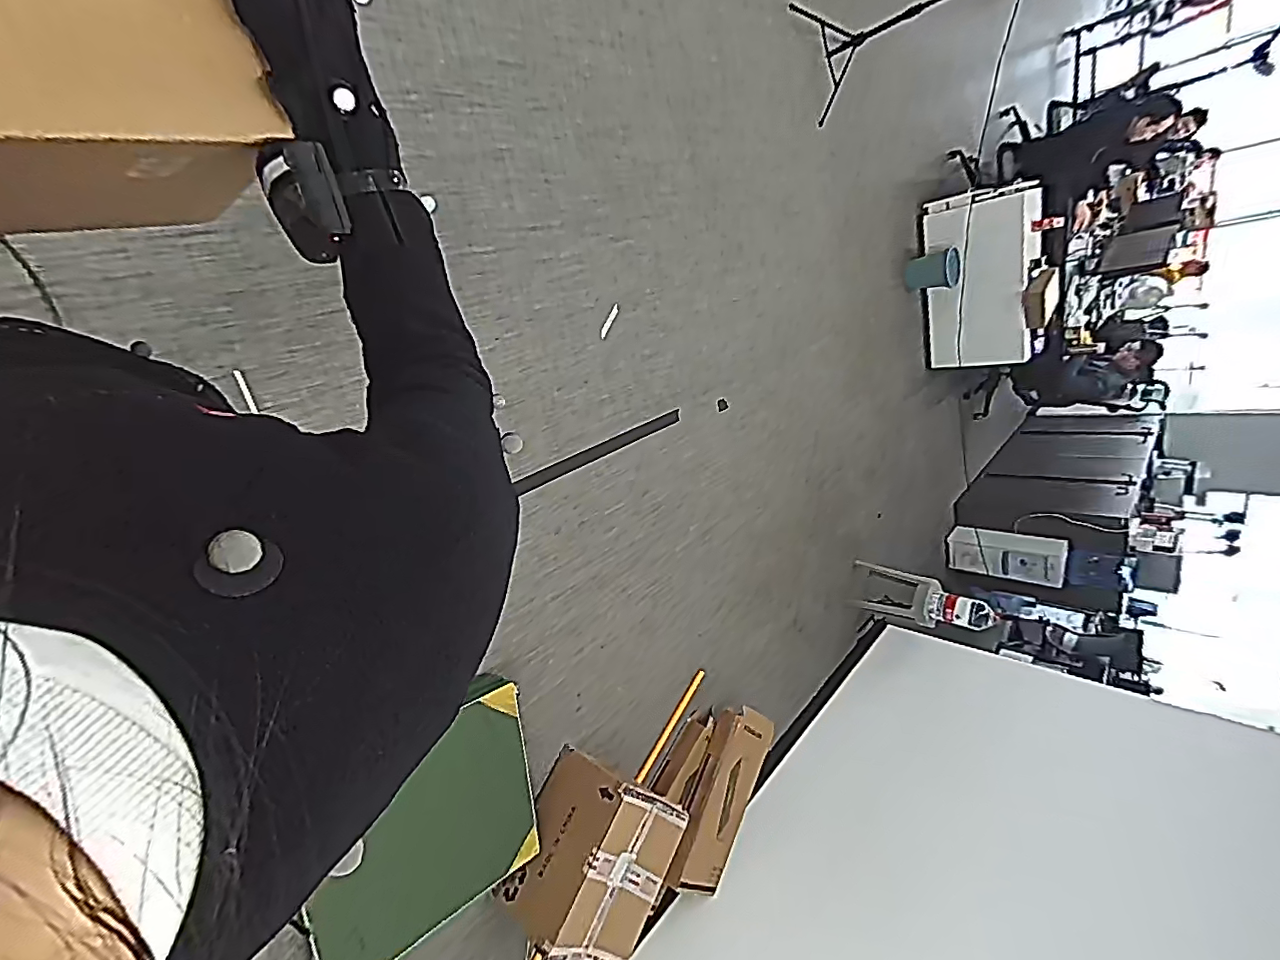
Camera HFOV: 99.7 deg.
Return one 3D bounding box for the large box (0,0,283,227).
[{"bbox_3d":[-0.504,-0.318,0.284,0.408,0.320,0.320,-30,120,-40],"label":"large box"}]
